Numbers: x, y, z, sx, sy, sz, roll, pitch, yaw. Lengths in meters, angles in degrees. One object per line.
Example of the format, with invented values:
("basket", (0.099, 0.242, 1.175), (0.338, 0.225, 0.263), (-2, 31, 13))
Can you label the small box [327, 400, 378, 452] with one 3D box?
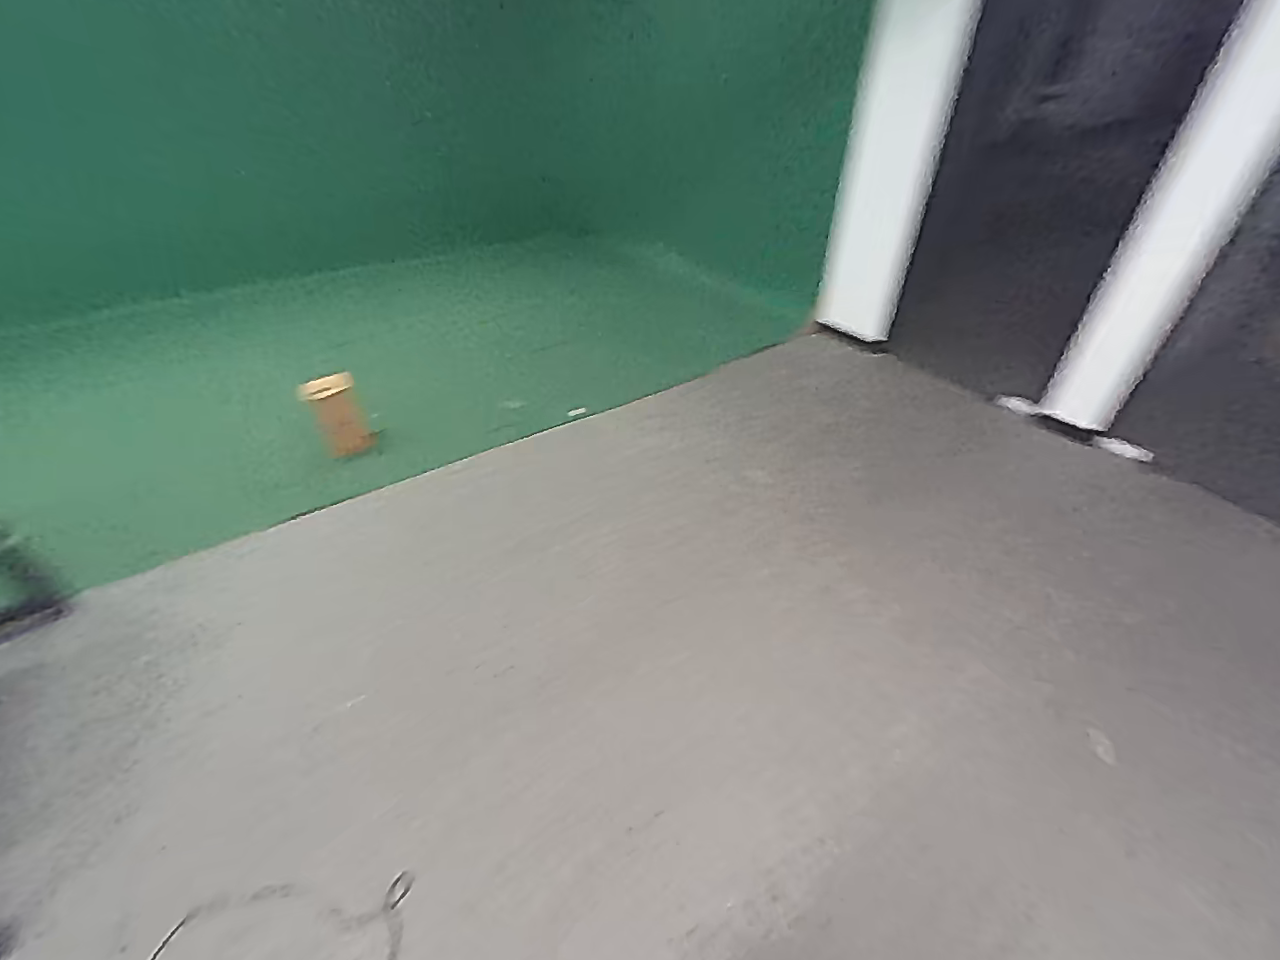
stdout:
("small box", (-1.390, -0.263, 2.624), (0.179, 0.176, 0.168), (-20, 43, -21))
